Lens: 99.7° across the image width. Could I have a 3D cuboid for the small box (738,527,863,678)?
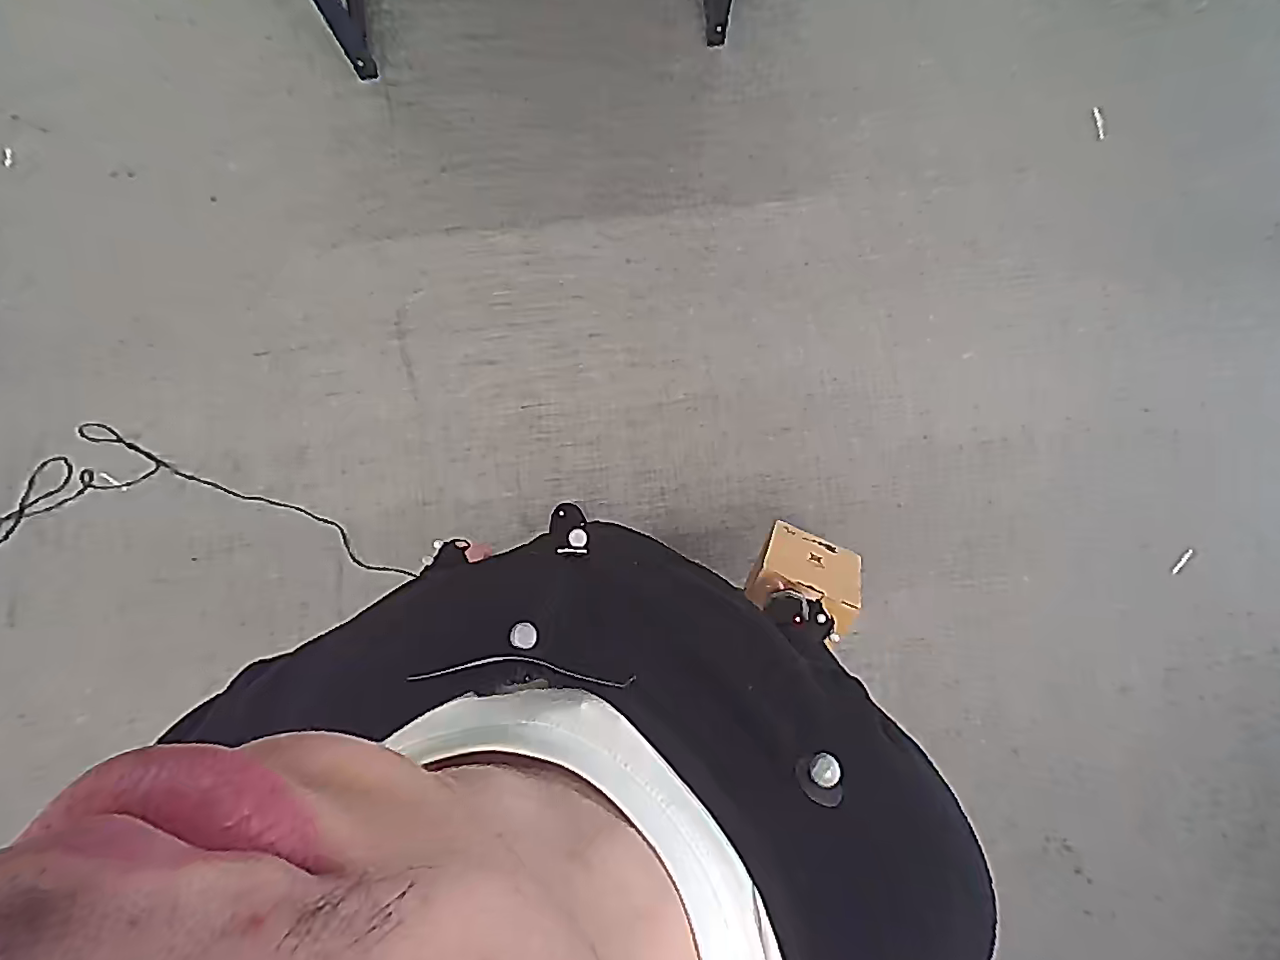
[{"bbox_3d":[0.286,0.219,0.972,0.168,0.179,0.176,22,118,11],"label":"small box"}]
